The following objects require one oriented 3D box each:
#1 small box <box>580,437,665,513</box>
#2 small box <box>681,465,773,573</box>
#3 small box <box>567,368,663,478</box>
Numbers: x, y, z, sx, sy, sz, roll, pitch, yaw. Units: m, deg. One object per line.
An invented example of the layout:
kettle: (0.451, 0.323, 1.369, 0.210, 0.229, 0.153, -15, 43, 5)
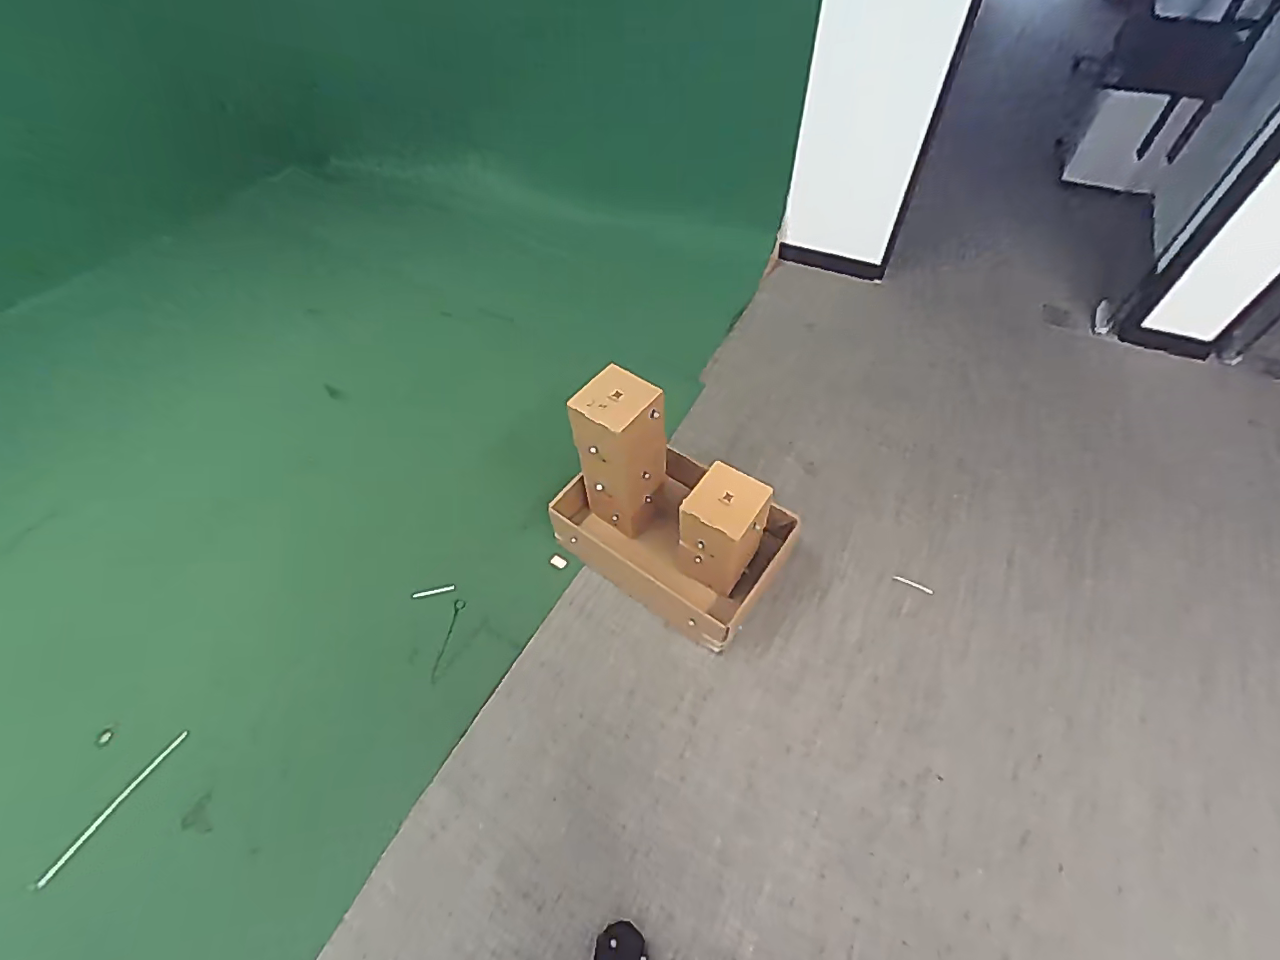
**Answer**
small box: (-0.048, -0.045, 1.494, 0.168, 0.176, 0.179, 34, 63, 23)
small box: (0.214, 0.101, 1.370, 0.168, 0.176, 0.179, 29, 62, 23)
small box: (-0.059, -0.141, 1.361, 0.168, 0.176, 0.179, 32, 62, 22)
